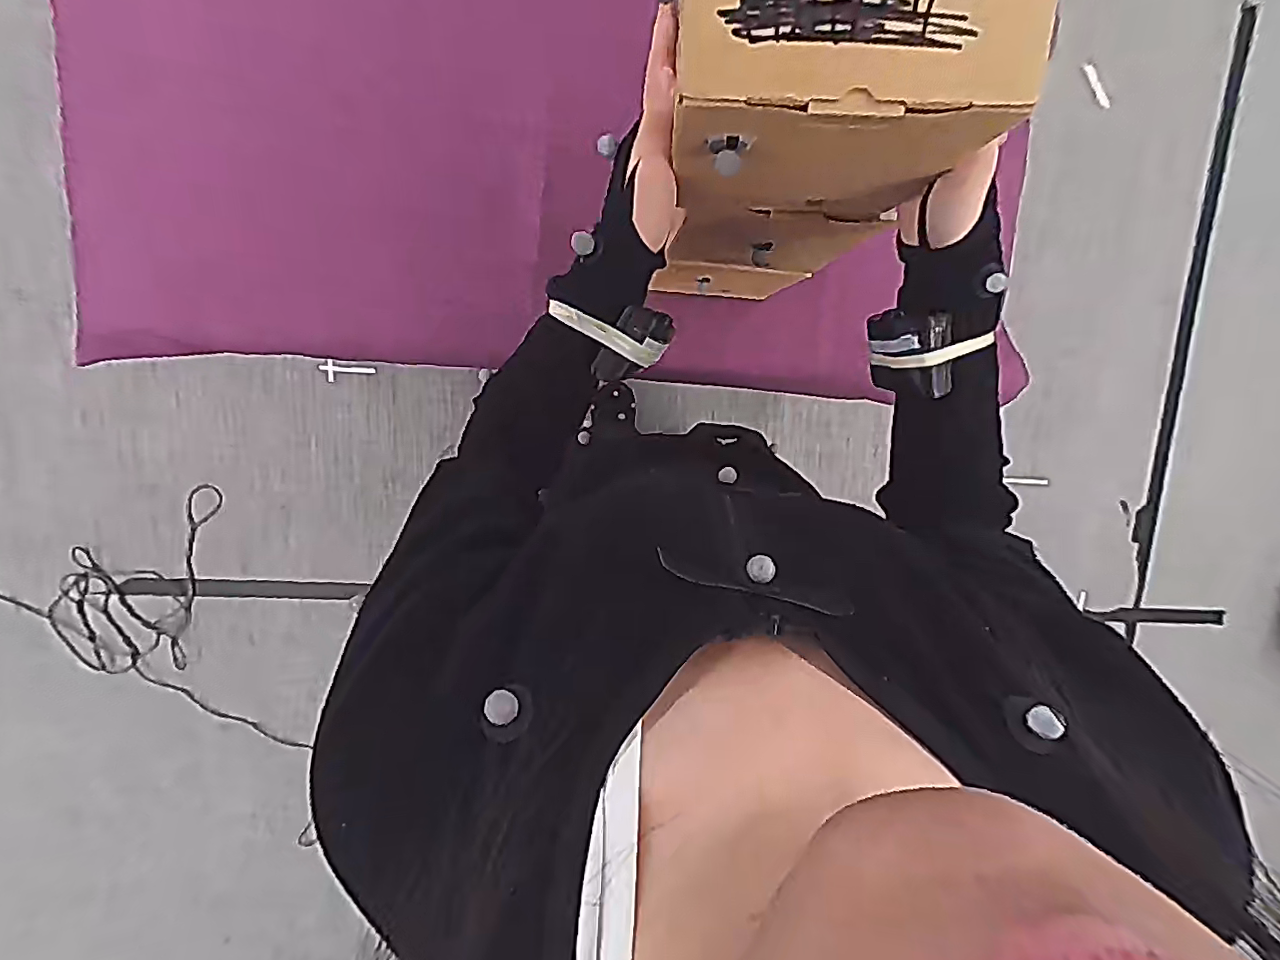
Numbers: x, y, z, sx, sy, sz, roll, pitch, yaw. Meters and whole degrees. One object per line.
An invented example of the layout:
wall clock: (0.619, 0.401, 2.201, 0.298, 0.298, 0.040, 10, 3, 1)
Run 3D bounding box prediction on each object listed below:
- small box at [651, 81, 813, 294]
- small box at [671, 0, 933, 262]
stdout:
small box: (0.106, -0.328, 0.646, 0.168, 0.176, 0.179, 3, 99, -6)
small box: (0.124, -0.306, 0.485, 0.168, 0.176, 0.179, 3, 99, -6)
